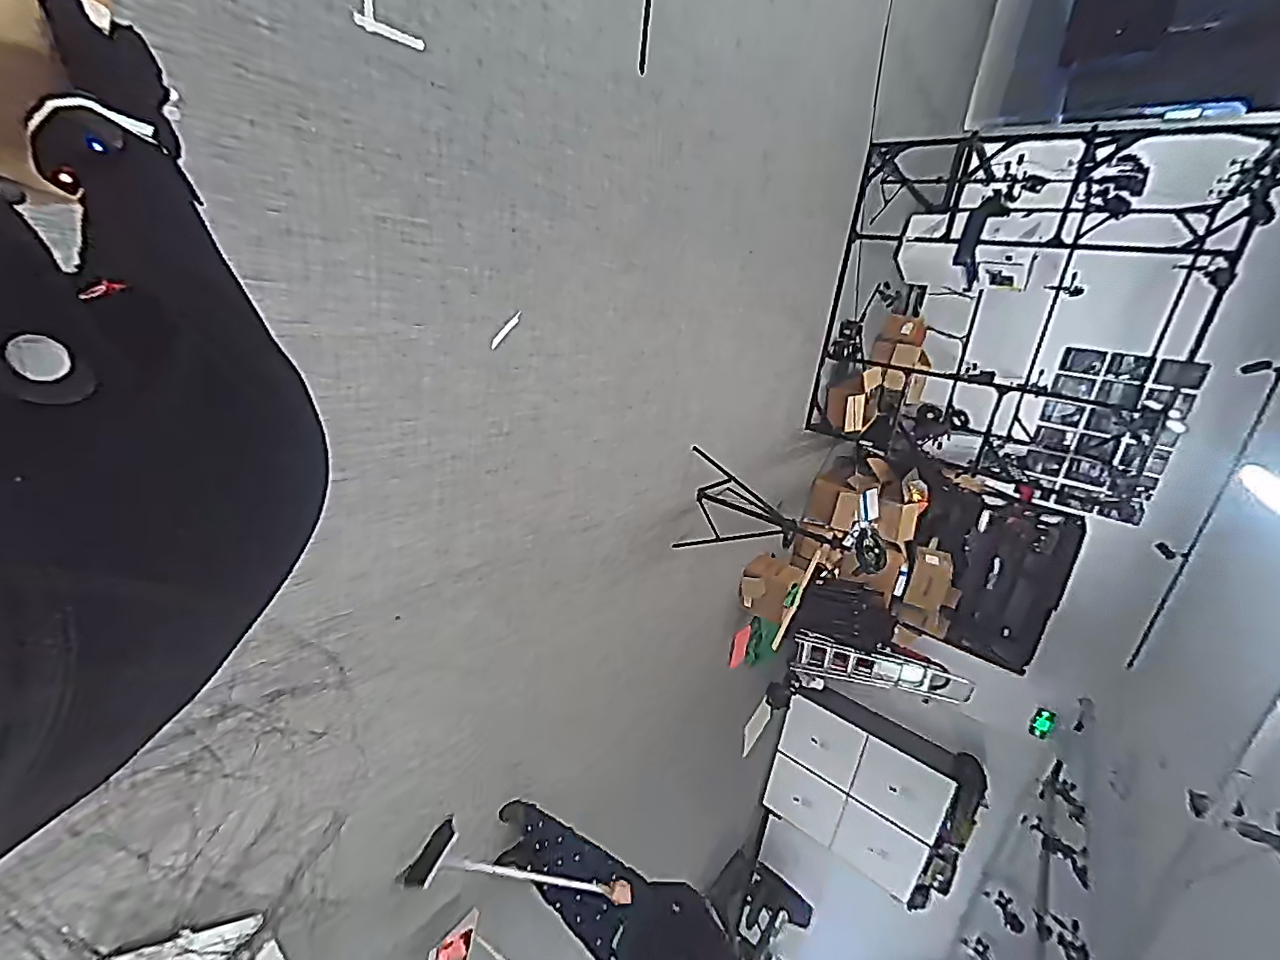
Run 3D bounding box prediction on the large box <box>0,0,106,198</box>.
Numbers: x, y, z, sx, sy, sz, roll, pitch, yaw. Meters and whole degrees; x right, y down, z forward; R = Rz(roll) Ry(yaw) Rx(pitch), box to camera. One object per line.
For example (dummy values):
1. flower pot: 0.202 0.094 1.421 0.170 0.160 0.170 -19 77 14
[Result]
1. large box: -0.706 -0.446 0.386 0.408 0.320 0.320 2 104 -60
